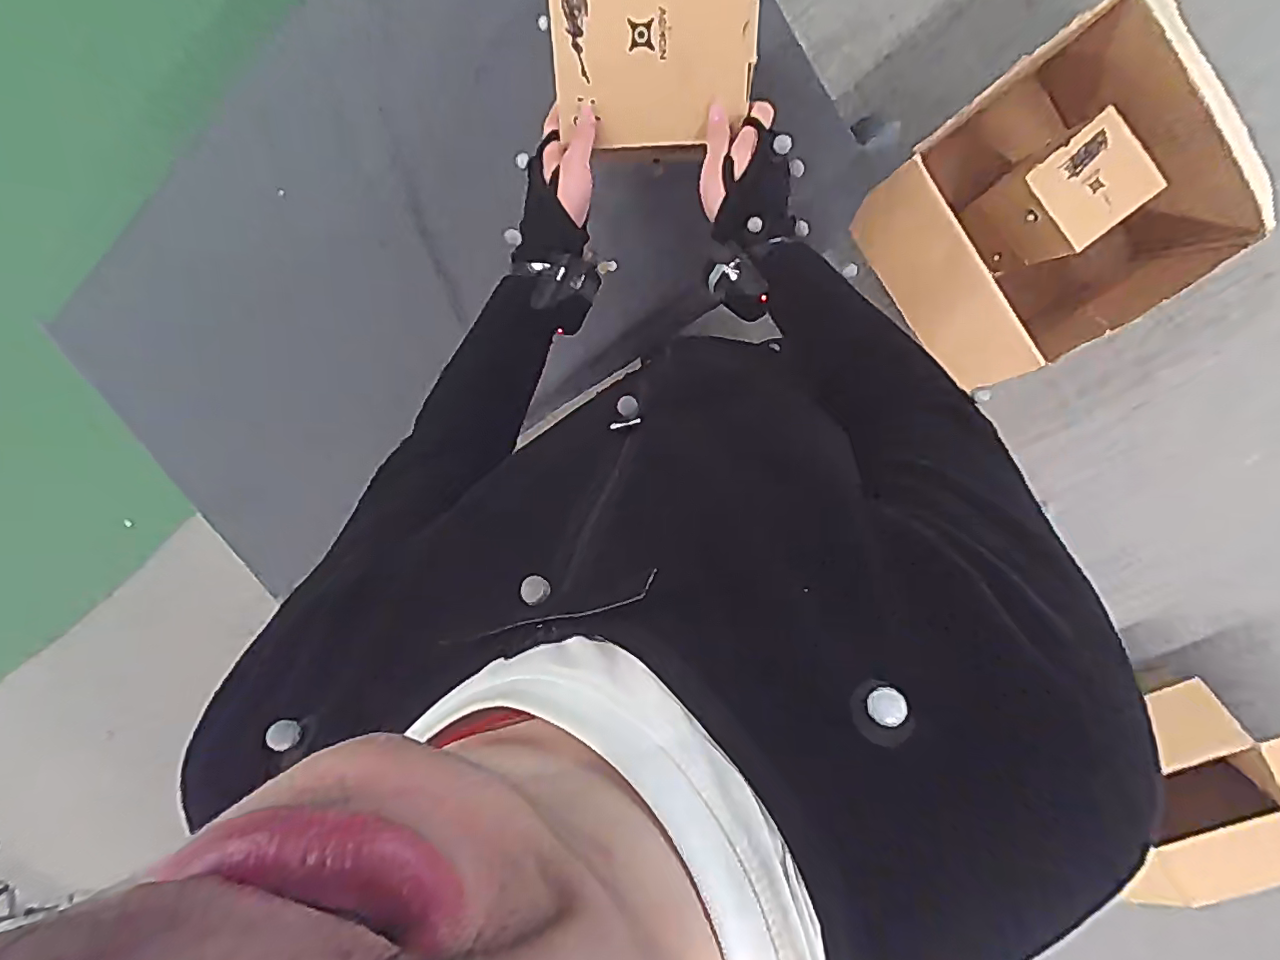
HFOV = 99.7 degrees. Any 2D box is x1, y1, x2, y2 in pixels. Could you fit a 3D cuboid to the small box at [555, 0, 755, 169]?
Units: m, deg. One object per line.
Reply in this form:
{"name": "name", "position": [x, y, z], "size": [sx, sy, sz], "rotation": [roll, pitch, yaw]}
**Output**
{"name": "small box", "position": [0.017, -0.422, 0.556], "size": [0.179, 0.176, 0.168], "rotation": [-2, 117, 4]}
